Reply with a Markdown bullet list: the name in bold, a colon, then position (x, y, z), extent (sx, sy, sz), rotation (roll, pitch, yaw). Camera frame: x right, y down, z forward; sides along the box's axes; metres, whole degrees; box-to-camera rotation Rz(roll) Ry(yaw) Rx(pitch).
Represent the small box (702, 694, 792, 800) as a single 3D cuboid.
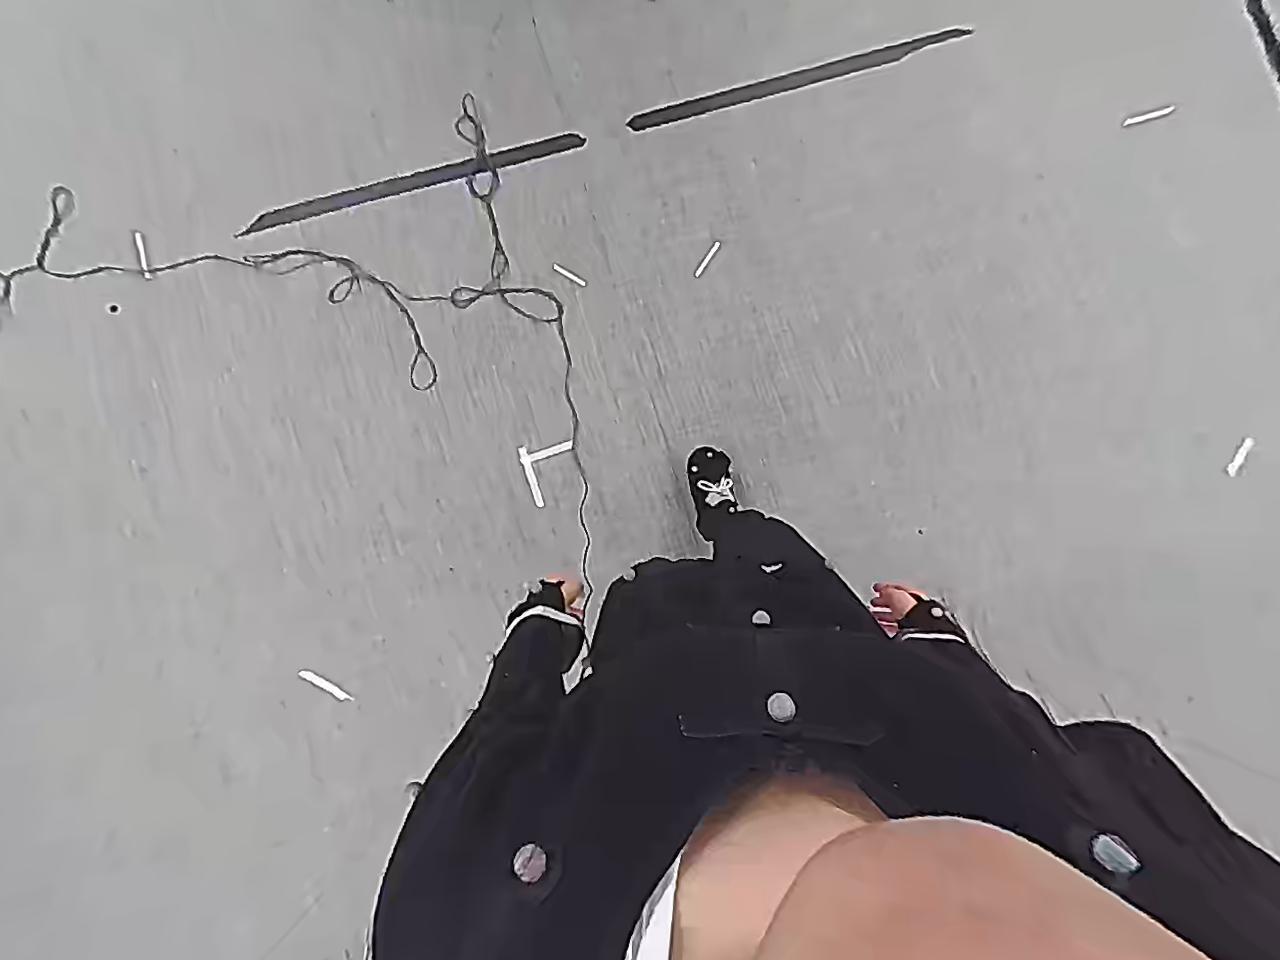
- **small box**: position (0.264, 0.674, 1.385), extent (0.179, 0.176, 0.168), rotation (-17, 87, -2)
